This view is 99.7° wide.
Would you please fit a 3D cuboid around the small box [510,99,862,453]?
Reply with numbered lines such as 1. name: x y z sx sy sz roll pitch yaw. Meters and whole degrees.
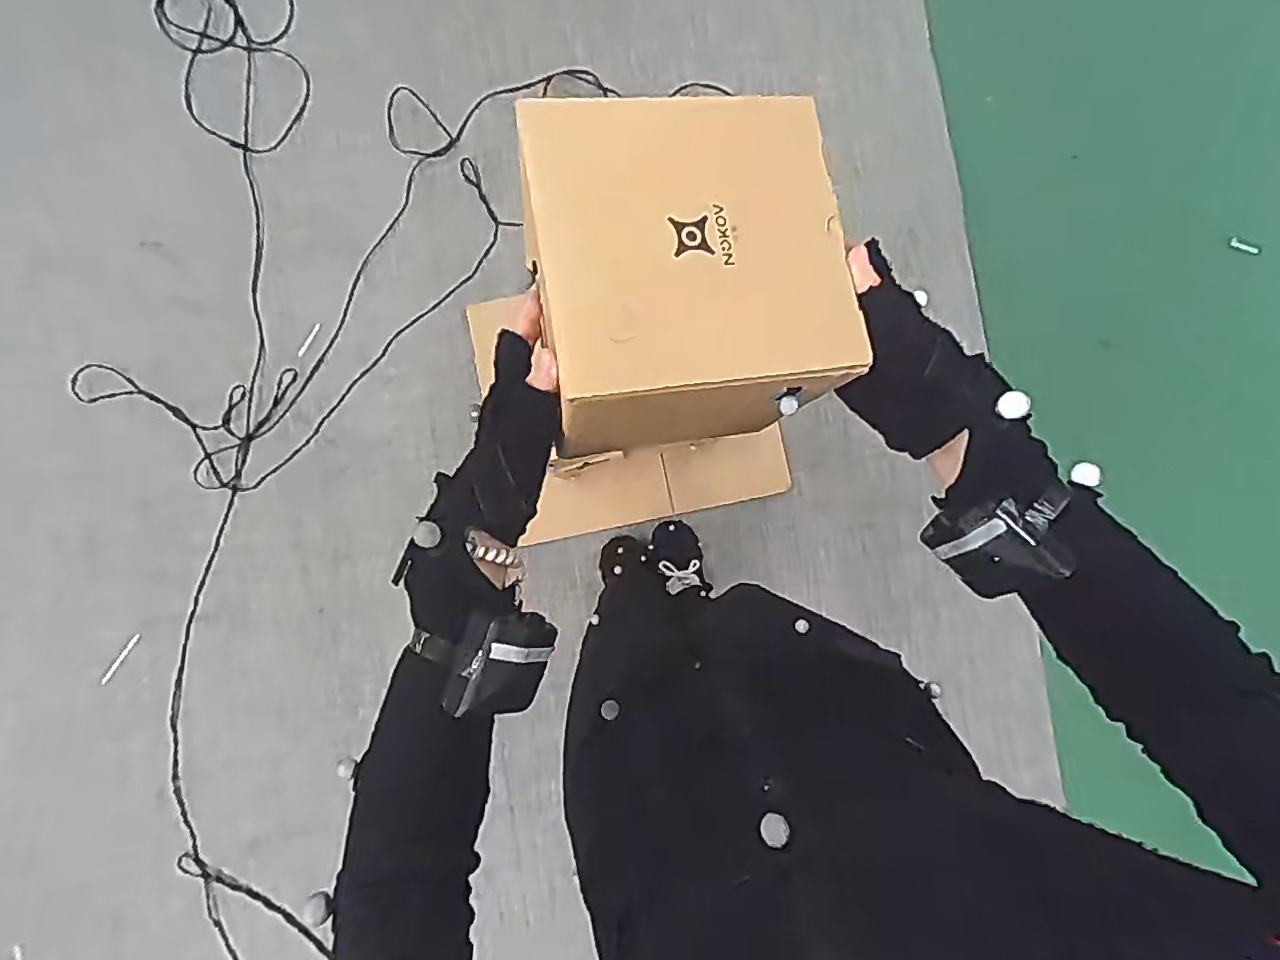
1. small box: 0.014 -0.121 0.373 0.179 0.176 0.168 -9 84 -12

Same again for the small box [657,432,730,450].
1. small box: 0.106 -0.173 1.246 0.168 0.176 0.179 -12 89 1

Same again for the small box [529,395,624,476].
1. small box: -0.137 -0.113 1.240 0.168 0.176 0.179 -16 88 -1
